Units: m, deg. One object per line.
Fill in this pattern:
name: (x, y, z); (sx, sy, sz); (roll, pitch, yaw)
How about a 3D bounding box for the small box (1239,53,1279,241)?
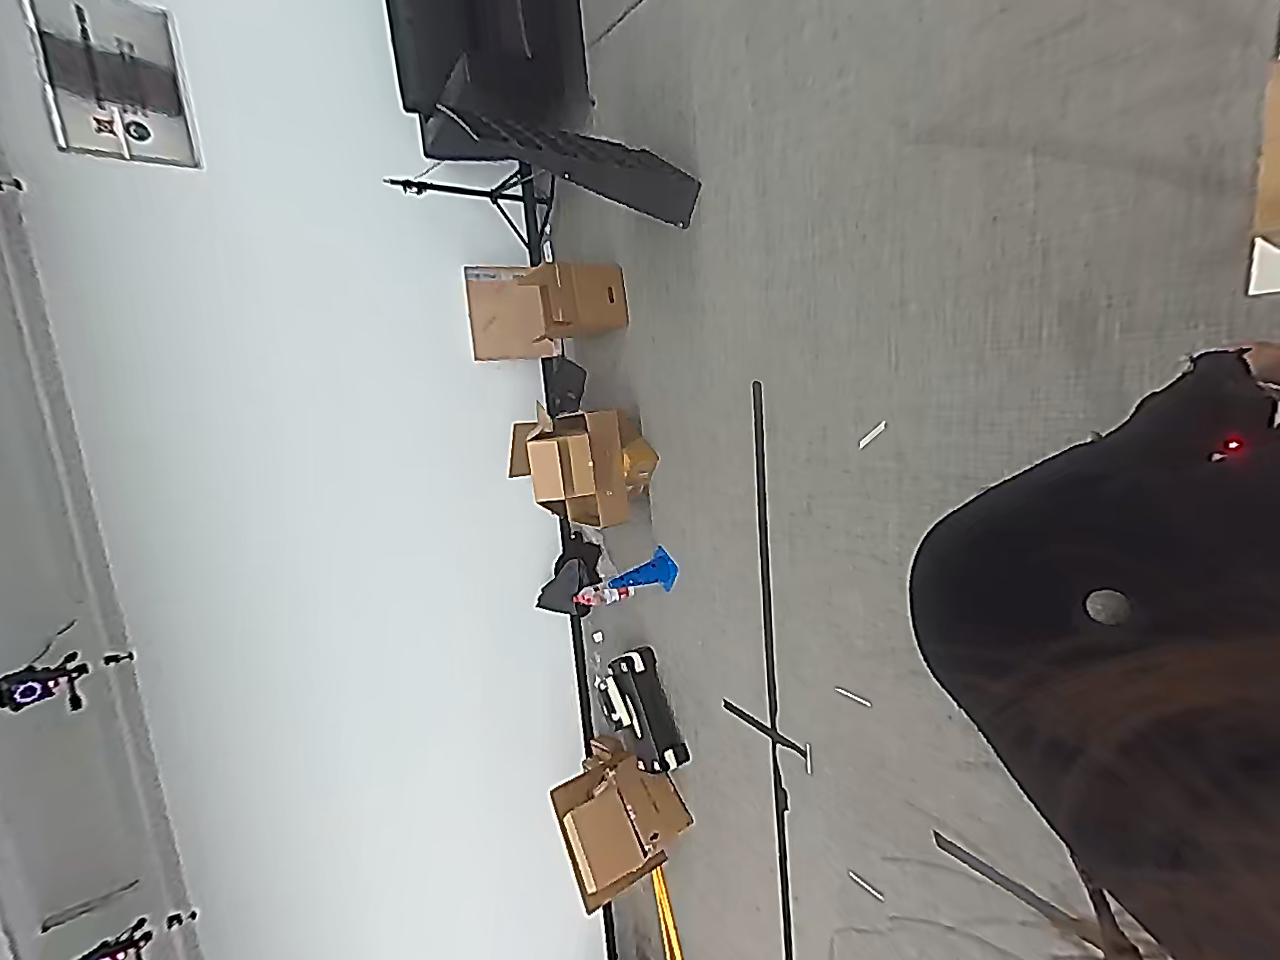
small box: (0.770, -0.360, 0.561); (0.168, 0.176, 0.179); (11, 108, 56)
